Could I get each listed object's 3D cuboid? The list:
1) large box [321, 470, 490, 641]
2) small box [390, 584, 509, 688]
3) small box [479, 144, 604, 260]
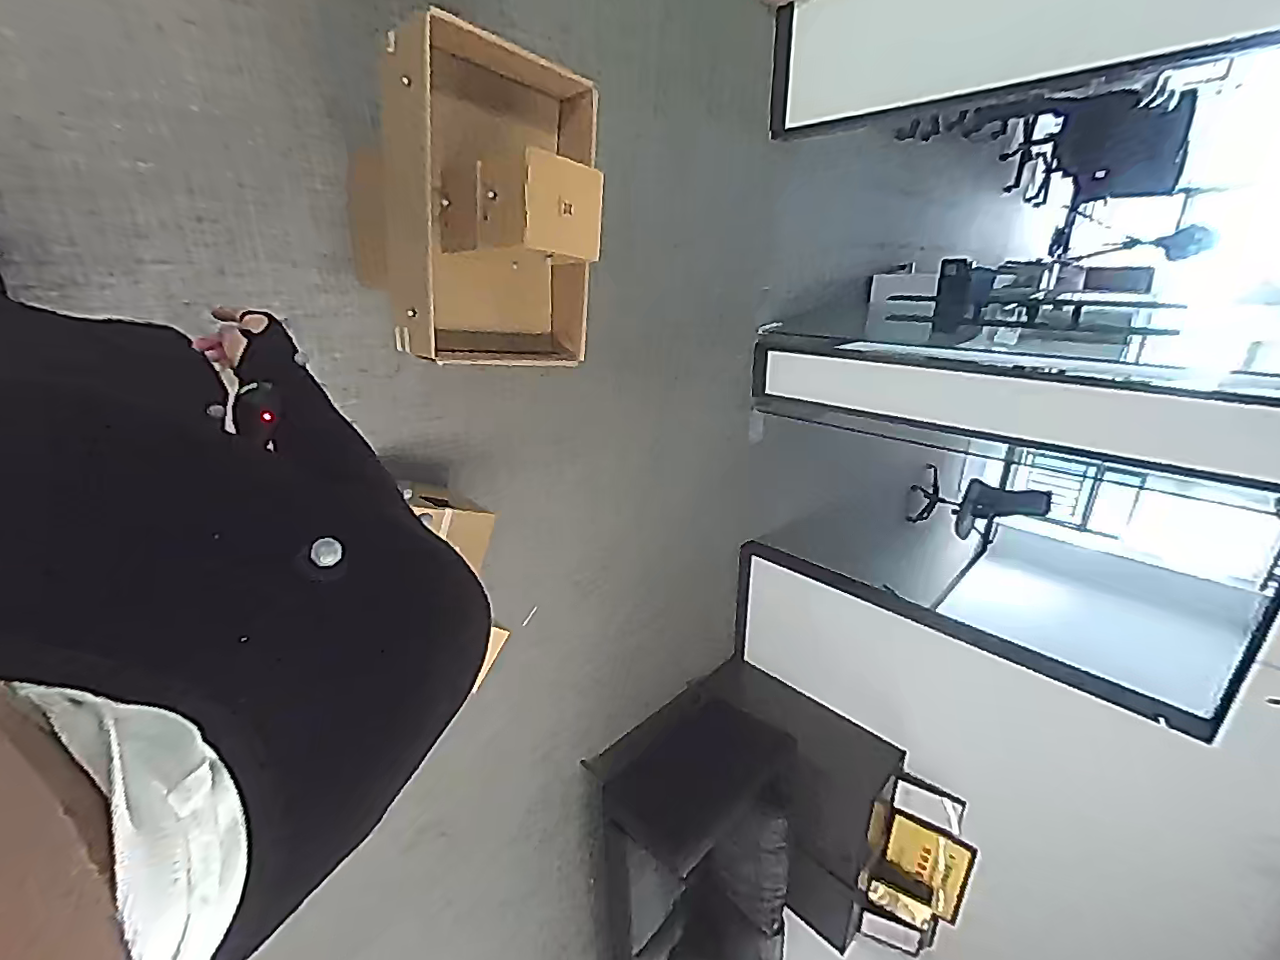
[{"bbox_3d":[-0.700,0.214,1.604,0.320,0.320,0.408,11,96,-49],"label":"large box"},{"bbox_3d":[-0.459,0.370,1.300,0.179,0.176,0.168,39,76,-45],"label":"small box"},{"bbox_3d":[-0.196,-0.535,1.065,0.179,0.176,0.168,-10,112,-44],"label":"small box"}]
